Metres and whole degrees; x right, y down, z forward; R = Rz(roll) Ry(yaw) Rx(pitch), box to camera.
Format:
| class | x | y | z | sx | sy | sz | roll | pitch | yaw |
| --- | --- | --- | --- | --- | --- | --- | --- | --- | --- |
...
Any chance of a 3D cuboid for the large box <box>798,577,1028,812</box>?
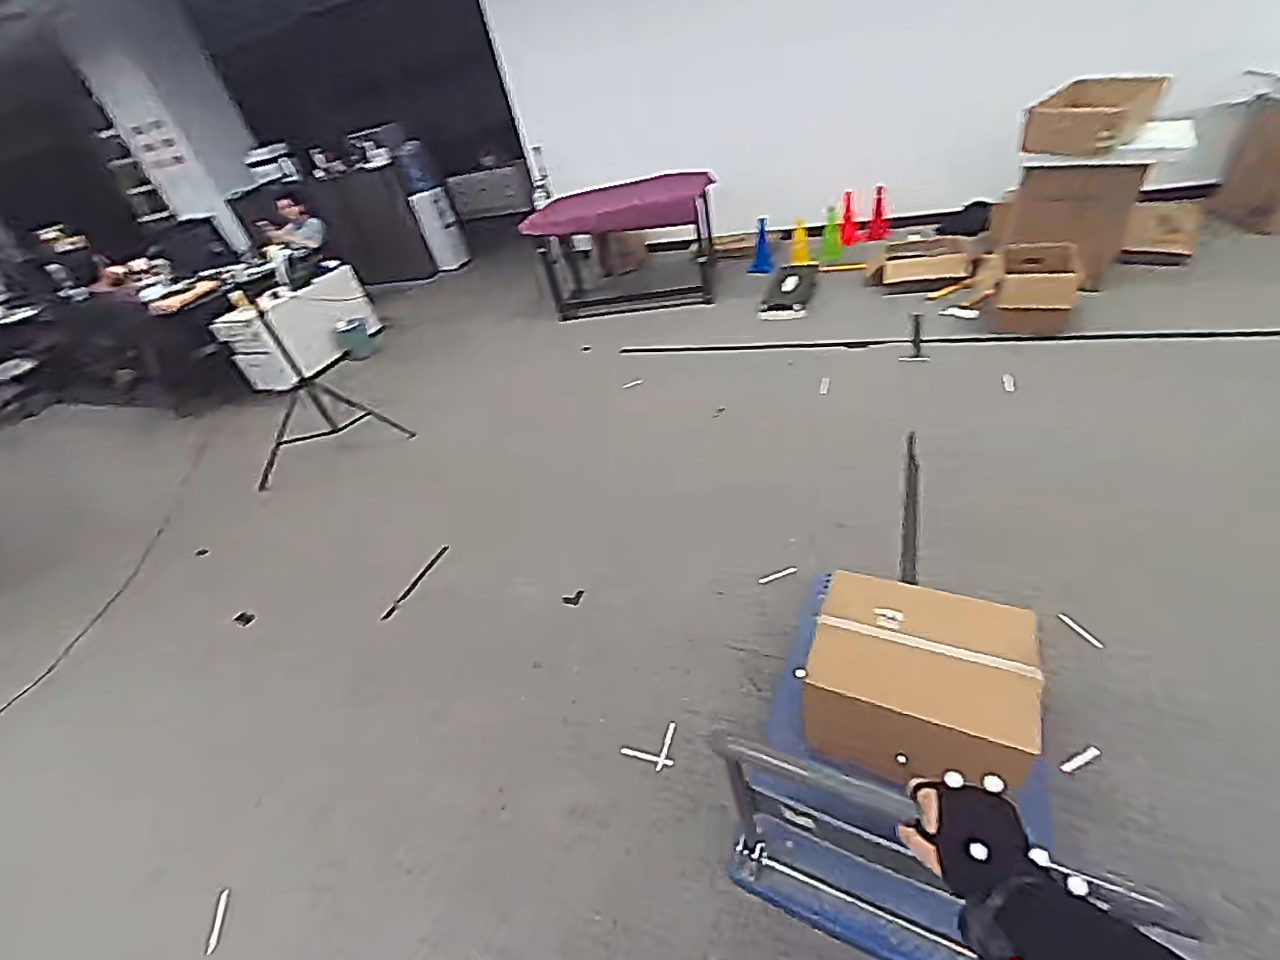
| class | x | y | z | sx | sy | sz | roll | pitch | yaw |
| --- | --- | --- | --- | --- | --- | --- | --- | --- | --- |
| large box | 0.598 | 0.466 | 1.215 | 0.408 | 0.320 | 0.320 | 8 | 43 | 28 |
